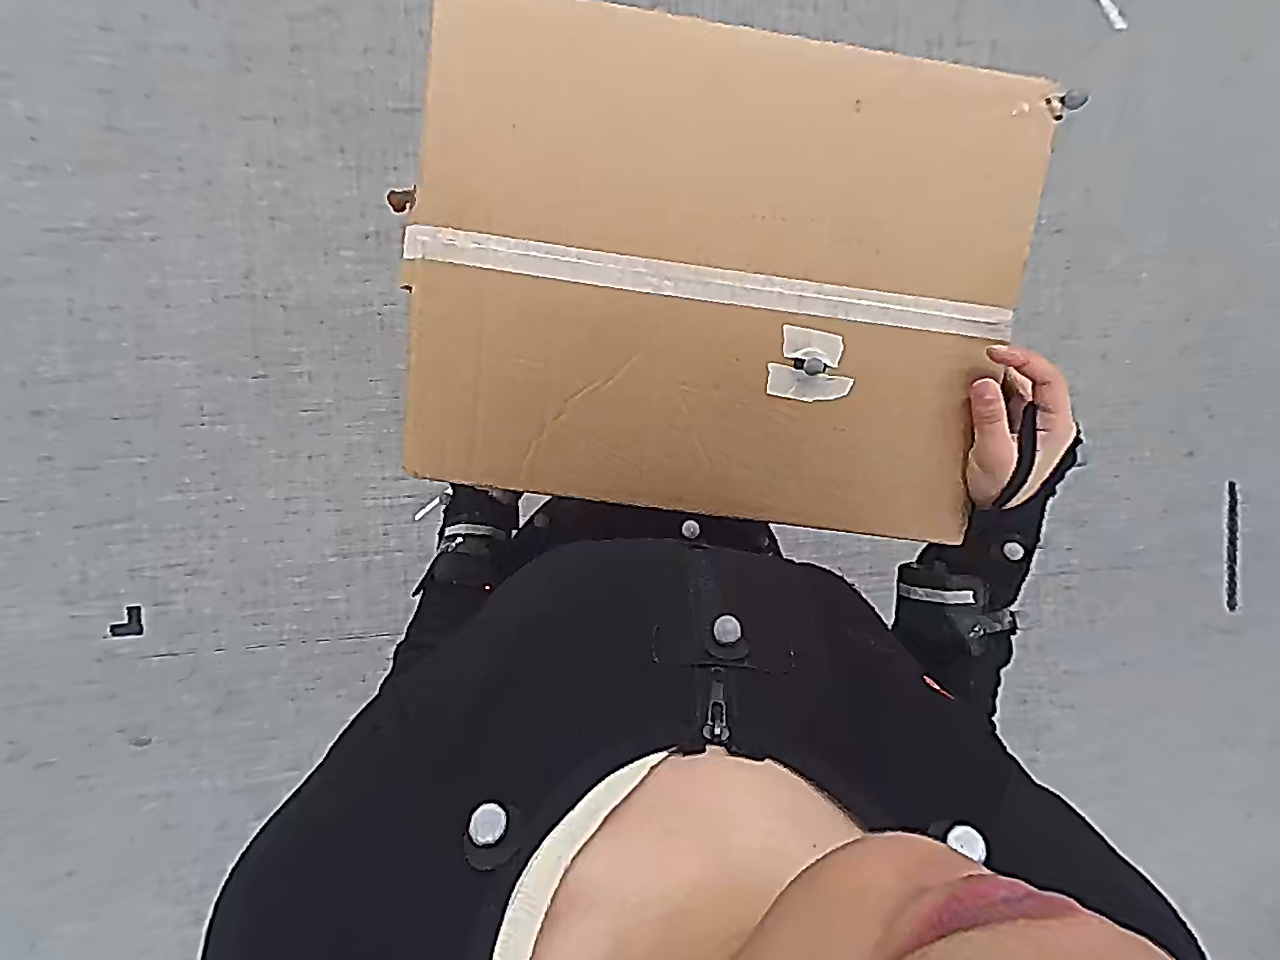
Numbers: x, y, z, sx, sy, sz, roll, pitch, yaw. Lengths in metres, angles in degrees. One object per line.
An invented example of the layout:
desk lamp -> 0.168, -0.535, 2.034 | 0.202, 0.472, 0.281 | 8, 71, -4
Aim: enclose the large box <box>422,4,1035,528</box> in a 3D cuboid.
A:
large box -> 0.048, -0.153, 0.520 | 0.408, 0.320, 0.320 | 6, 99, -4
